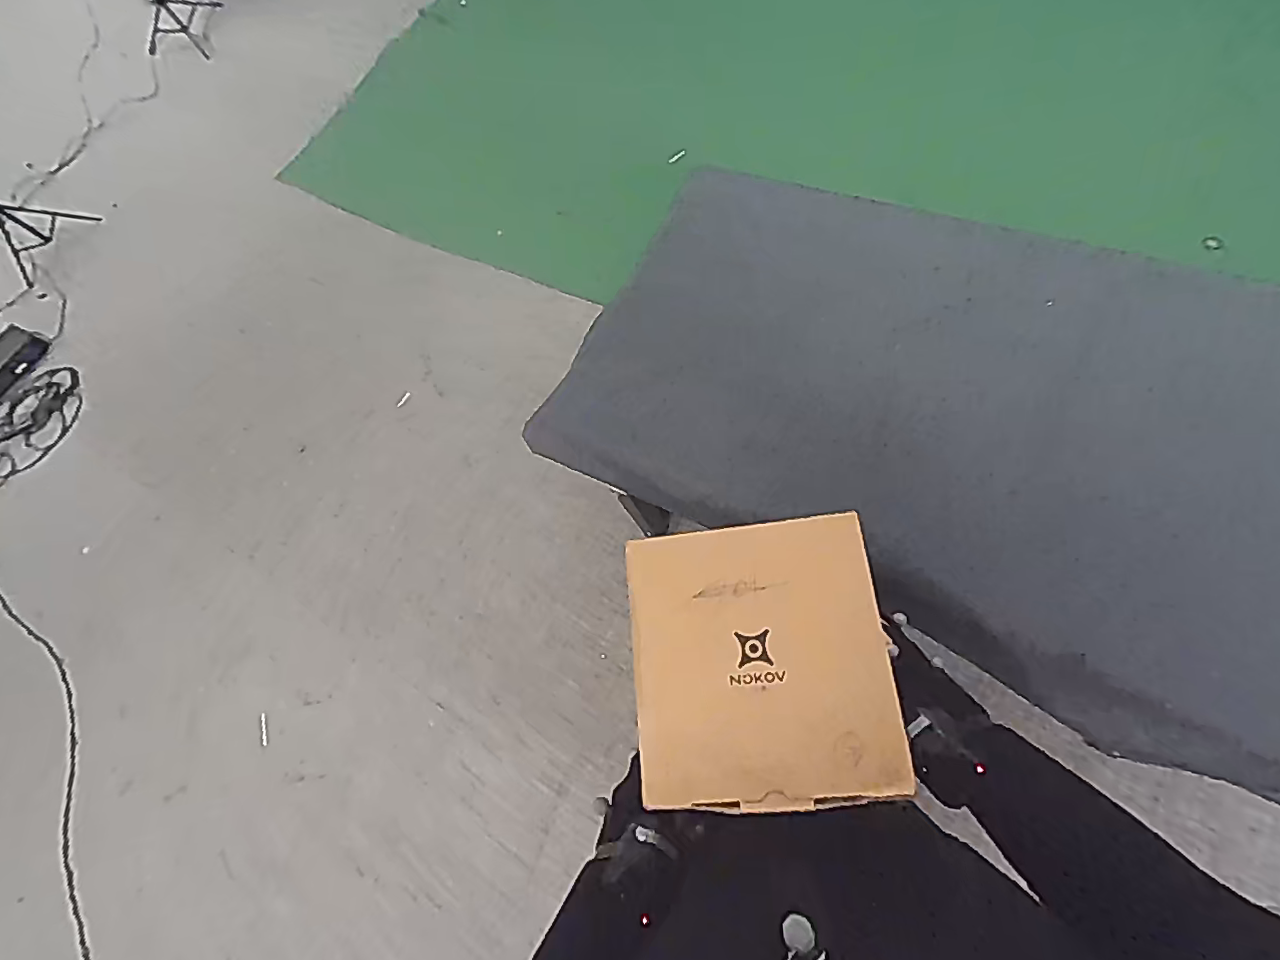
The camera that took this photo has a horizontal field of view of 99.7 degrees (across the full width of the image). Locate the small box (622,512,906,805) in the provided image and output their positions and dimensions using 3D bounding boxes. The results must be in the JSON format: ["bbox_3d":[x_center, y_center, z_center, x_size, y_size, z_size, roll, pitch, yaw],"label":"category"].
[{"bbox_3d":[0.087,0.138,0.430,0.168,0.176,0.179,-8,69,8],"label":"small box"}]
